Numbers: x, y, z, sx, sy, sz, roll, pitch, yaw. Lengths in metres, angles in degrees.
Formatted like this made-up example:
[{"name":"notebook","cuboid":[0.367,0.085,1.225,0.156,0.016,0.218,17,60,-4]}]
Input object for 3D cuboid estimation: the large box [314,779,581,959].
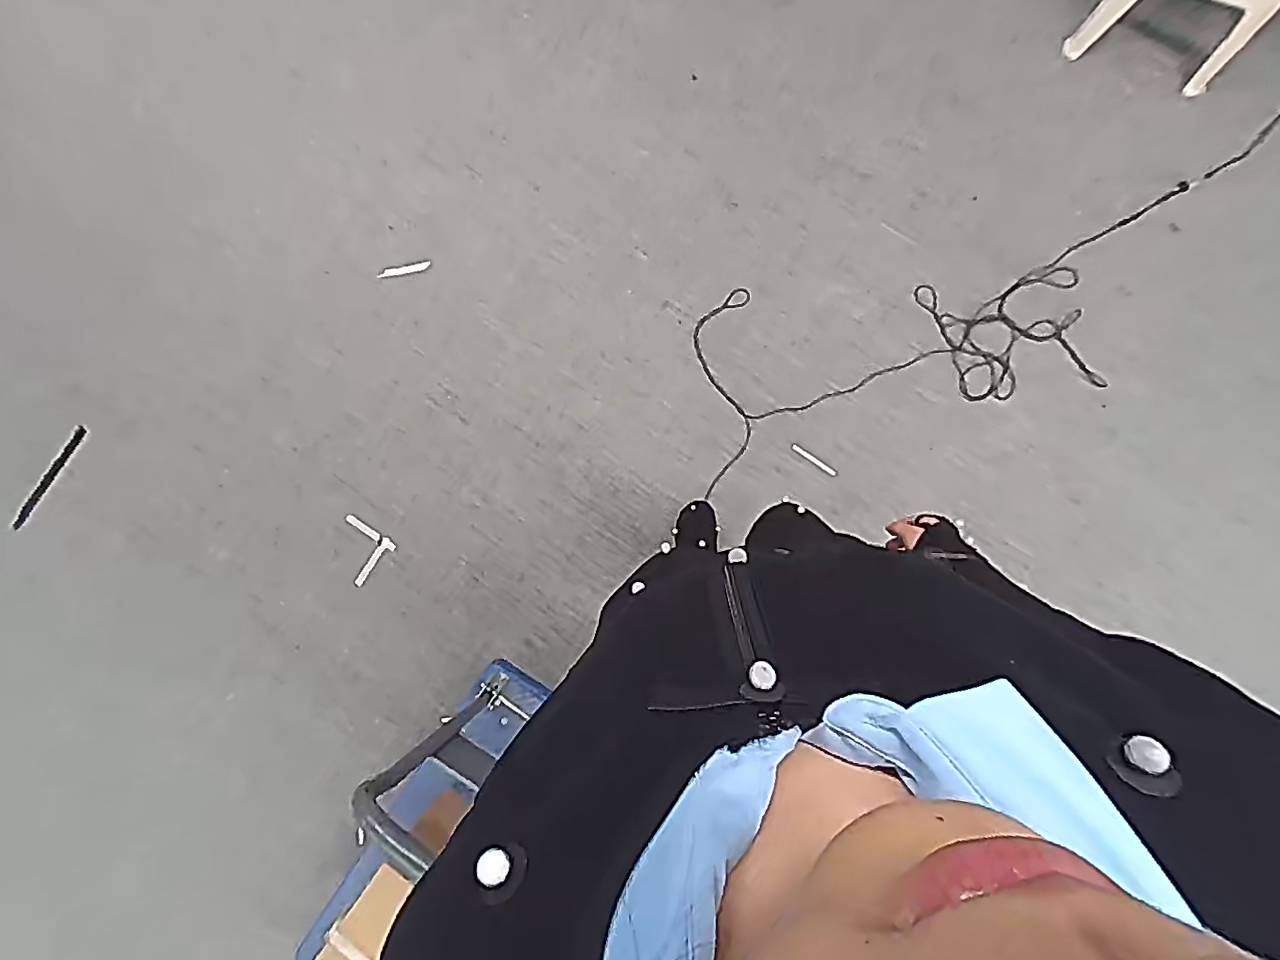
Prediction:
[{"name":"large box","cuboid":[-0.390,0.945,1.155,0.408,0.320,0.320,35,88,5]}]
